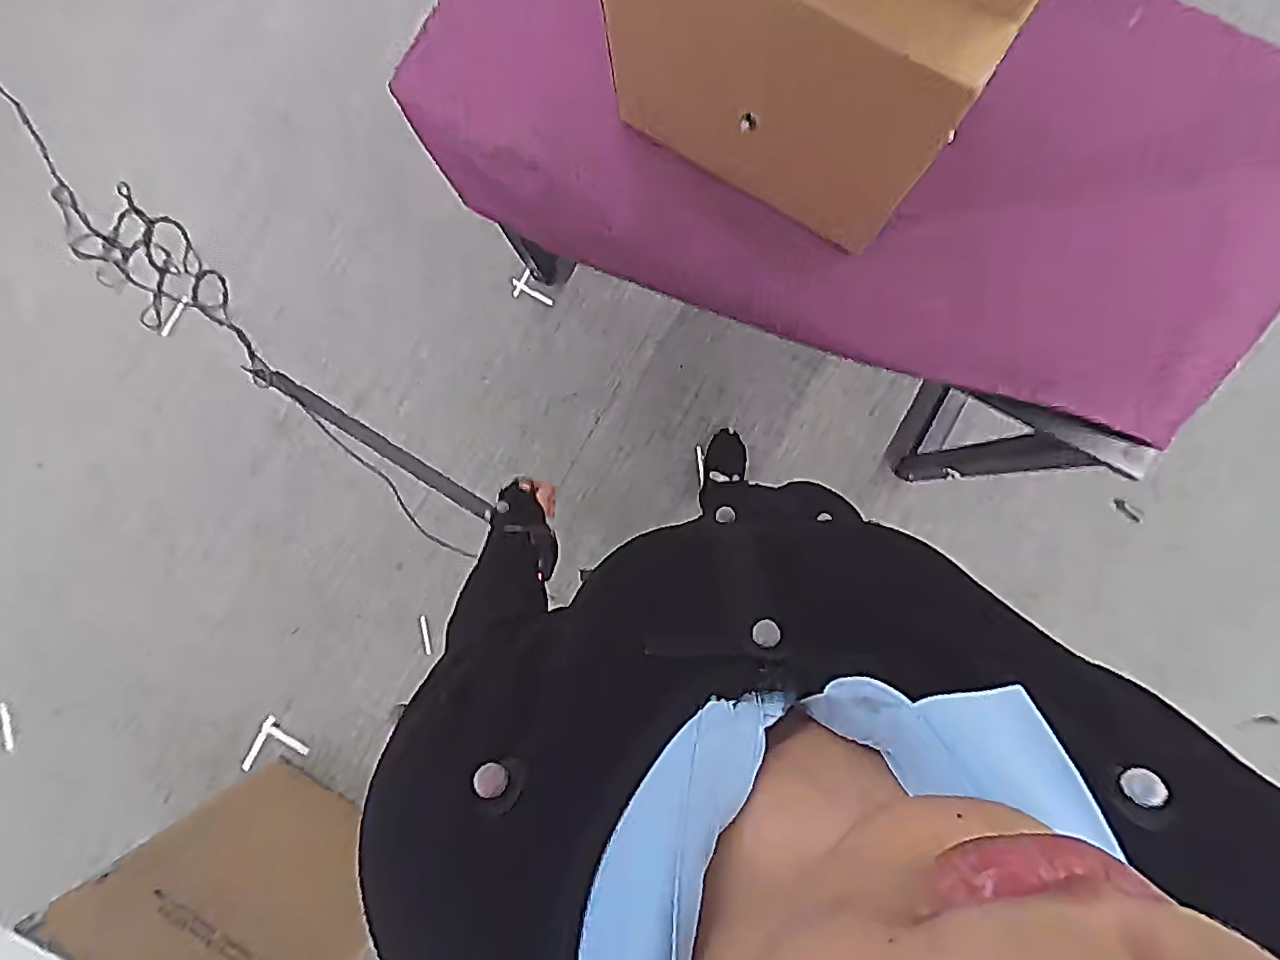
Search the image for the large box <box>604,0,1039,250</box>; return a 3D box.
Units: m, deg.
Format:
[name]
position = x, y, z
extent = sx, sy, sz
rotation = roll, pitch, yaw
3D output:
[large box]
position = 0.210, -0.547, 0.623
extent = 0.408, 0.320, 0.320
rotation = 31, 88, 6
